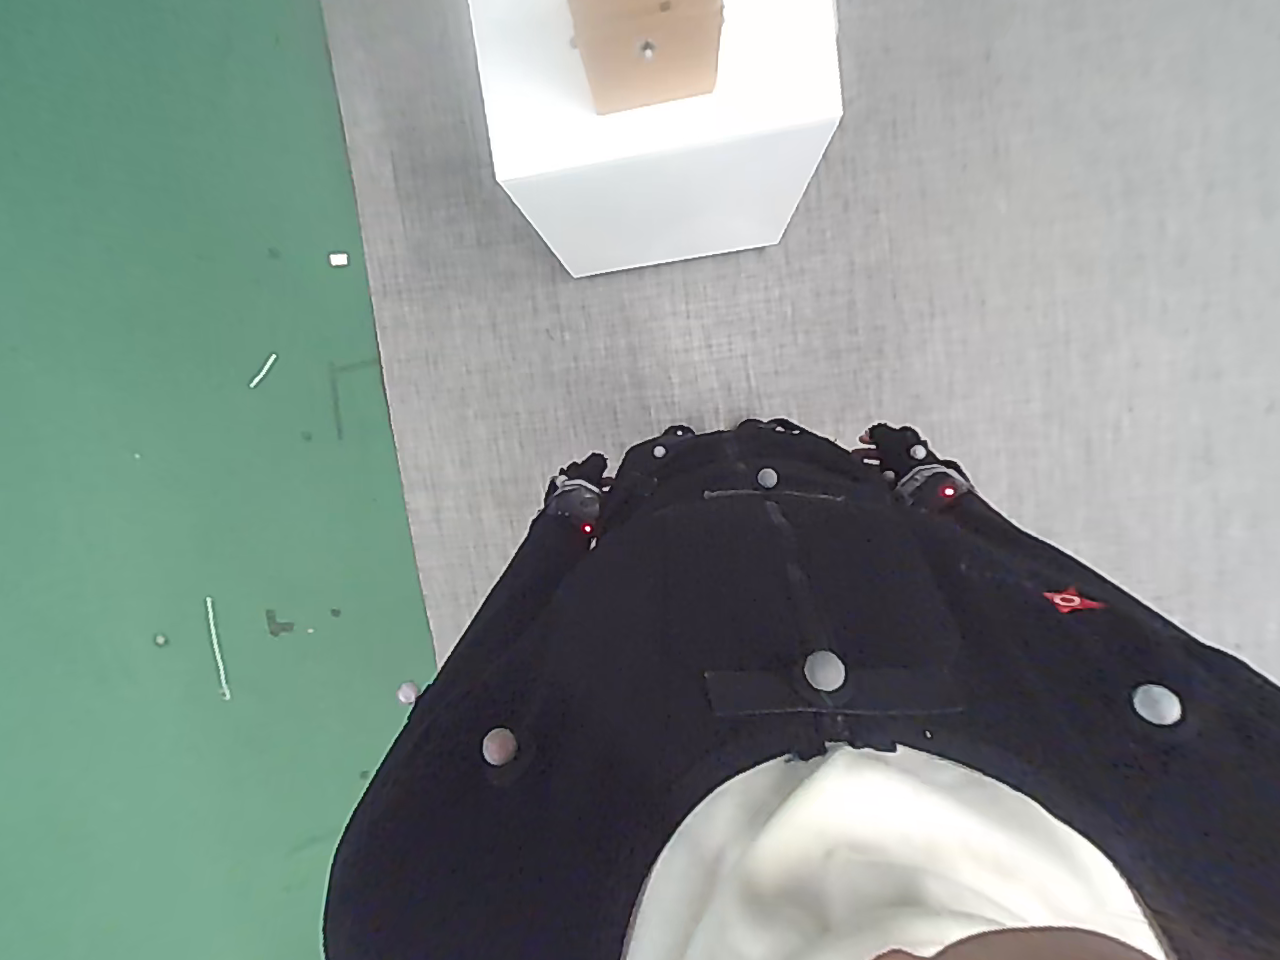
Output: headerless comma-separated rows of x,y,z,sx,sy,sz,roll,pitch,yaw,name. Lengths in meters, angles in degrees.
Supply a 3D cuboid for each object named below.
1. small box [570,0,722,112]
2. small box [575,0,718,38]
0.006,-0.614,0.698,0.179,0.176,0.168,-7,96,5,small box
-0.006,-0.601,0.538,0.168,0.176,0.179,-9,96,5,small box
